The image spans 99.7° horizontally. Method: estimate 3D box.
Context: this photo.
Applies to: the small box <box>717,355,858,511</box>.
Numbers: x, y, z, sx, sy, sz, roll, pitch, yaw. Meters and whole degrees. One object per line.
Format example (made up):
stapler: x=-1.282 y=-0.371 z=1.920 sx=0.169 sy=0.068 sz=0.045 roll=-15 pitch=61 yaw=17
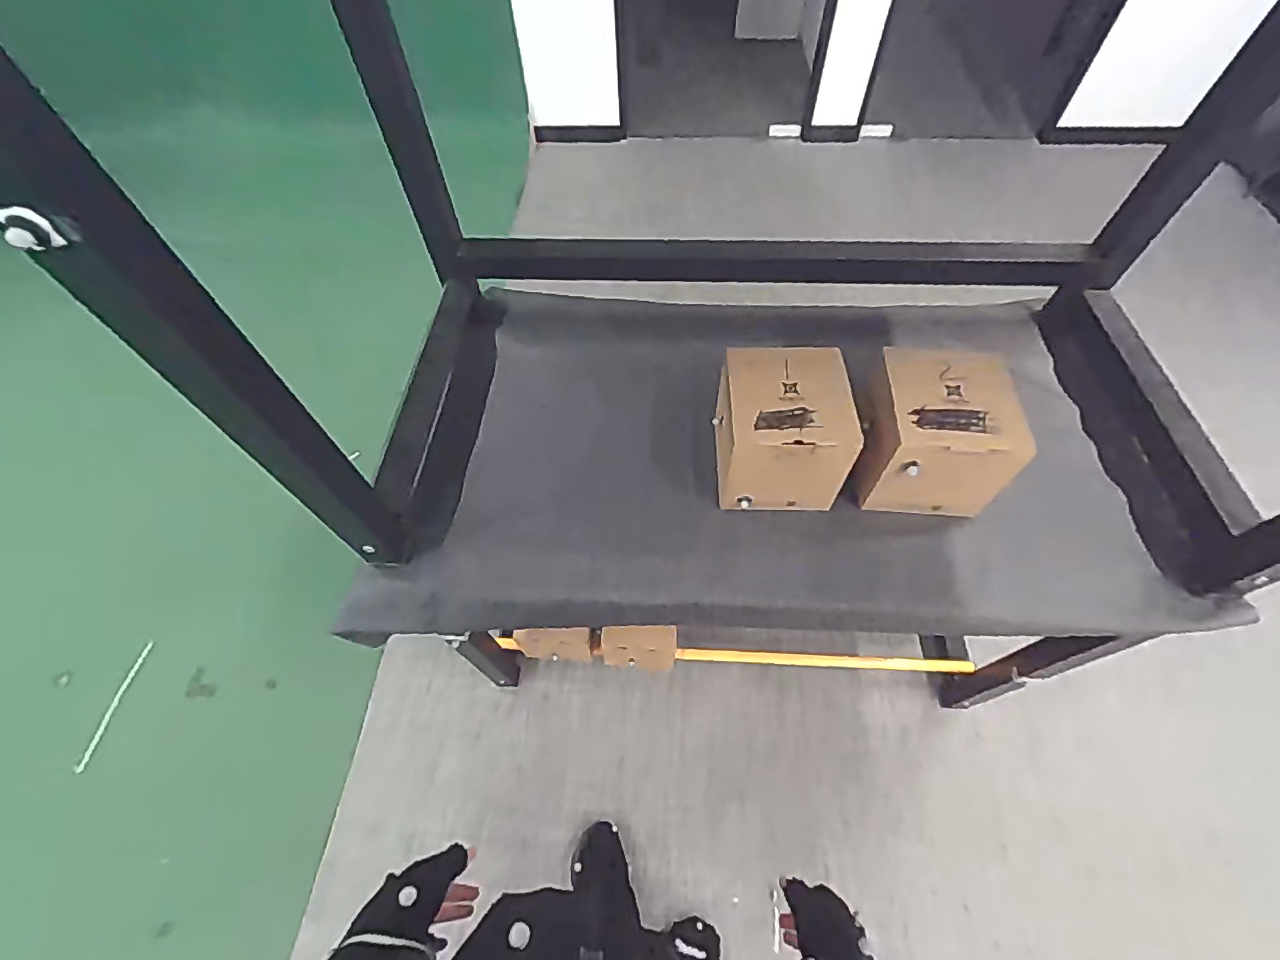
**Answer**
small box: x=0.207 y=-0.065 z=0.810 sx=0.168 sy=0.176 sz=0.179 roll=1 pitch=56 yaw=2
